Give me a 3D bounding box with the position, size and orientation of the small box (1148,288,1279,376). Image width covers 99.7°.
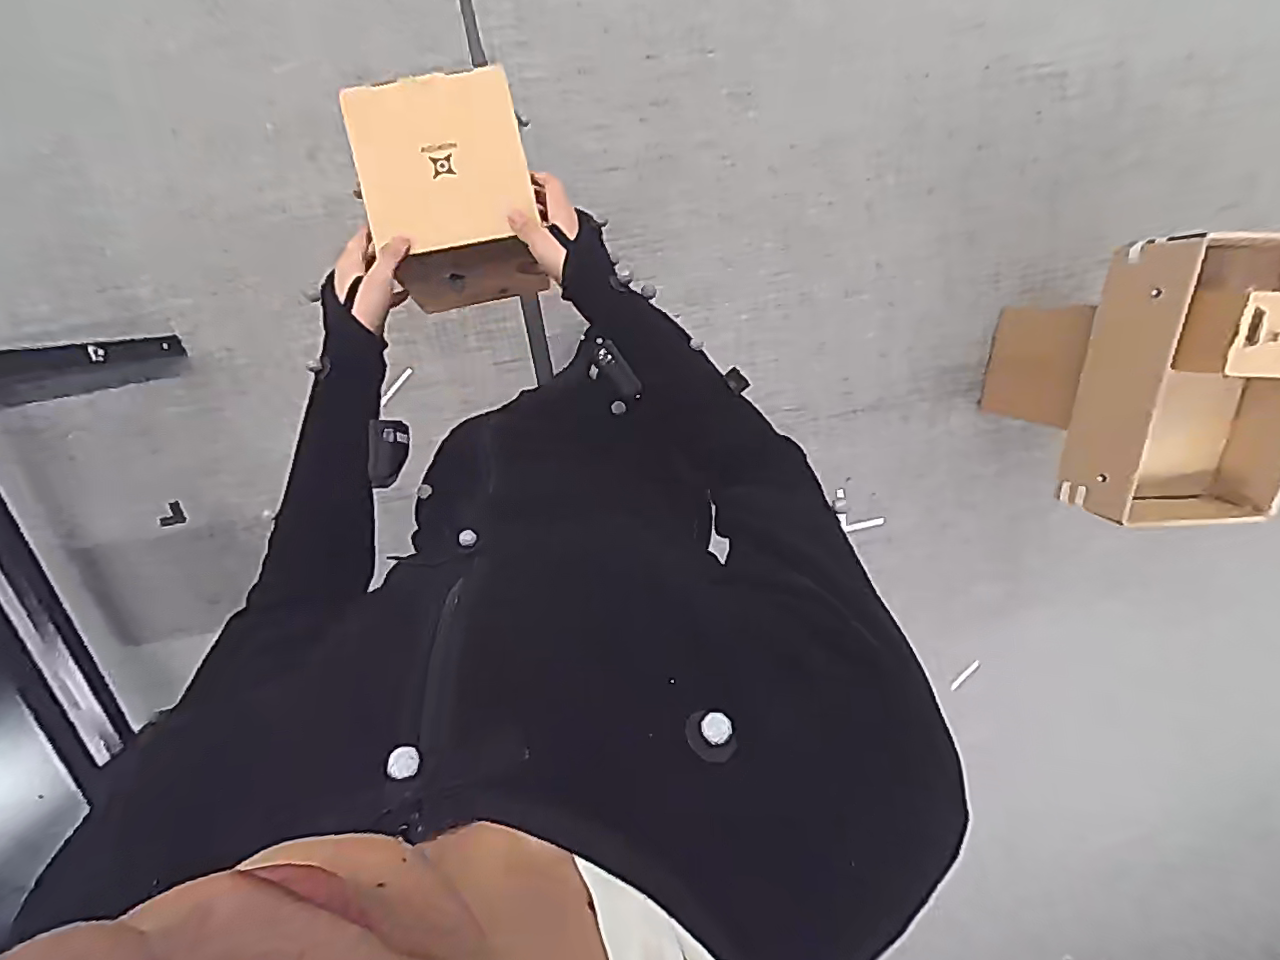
[{"bbox_3d":[1.256,-0.316,1.153,0.179,0.176,0.168,0,108,-7],"label":"small box"}]

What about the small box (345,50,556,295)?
[{"bbox_3d":[-0.195,-0.324,0.608,0.168,0.176,0.179,-13,90,-6],"label":"small box"}]
